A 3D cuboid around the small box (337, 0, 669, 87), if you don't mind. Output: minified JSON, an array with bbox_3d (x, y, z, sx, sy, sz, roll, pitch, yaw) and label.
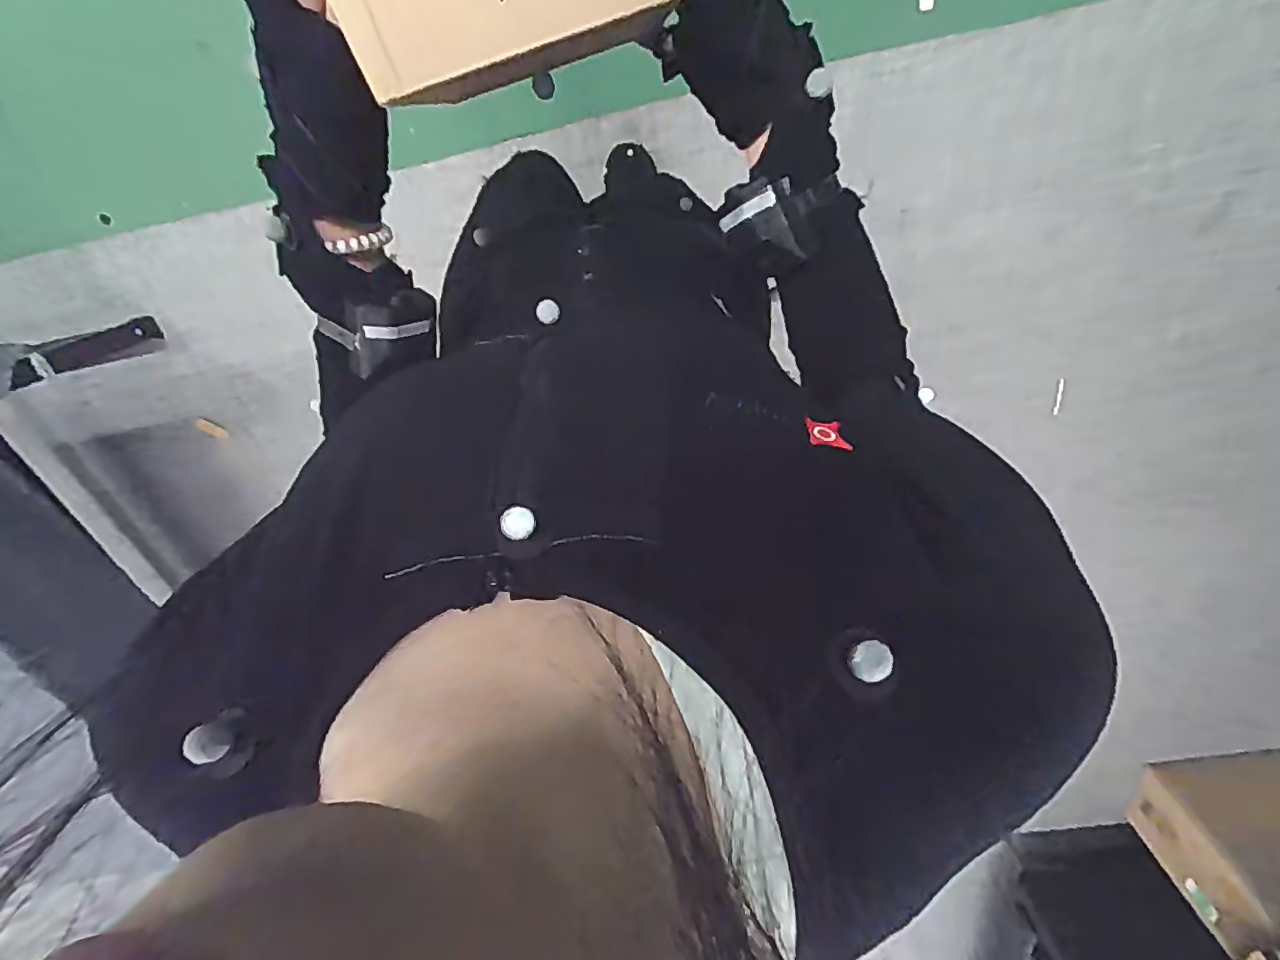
[{"bbox_3d":[-0.083,-0.335,0.286,0.168,0.176,0.179,-14,125,7],"label":"small box"}]
